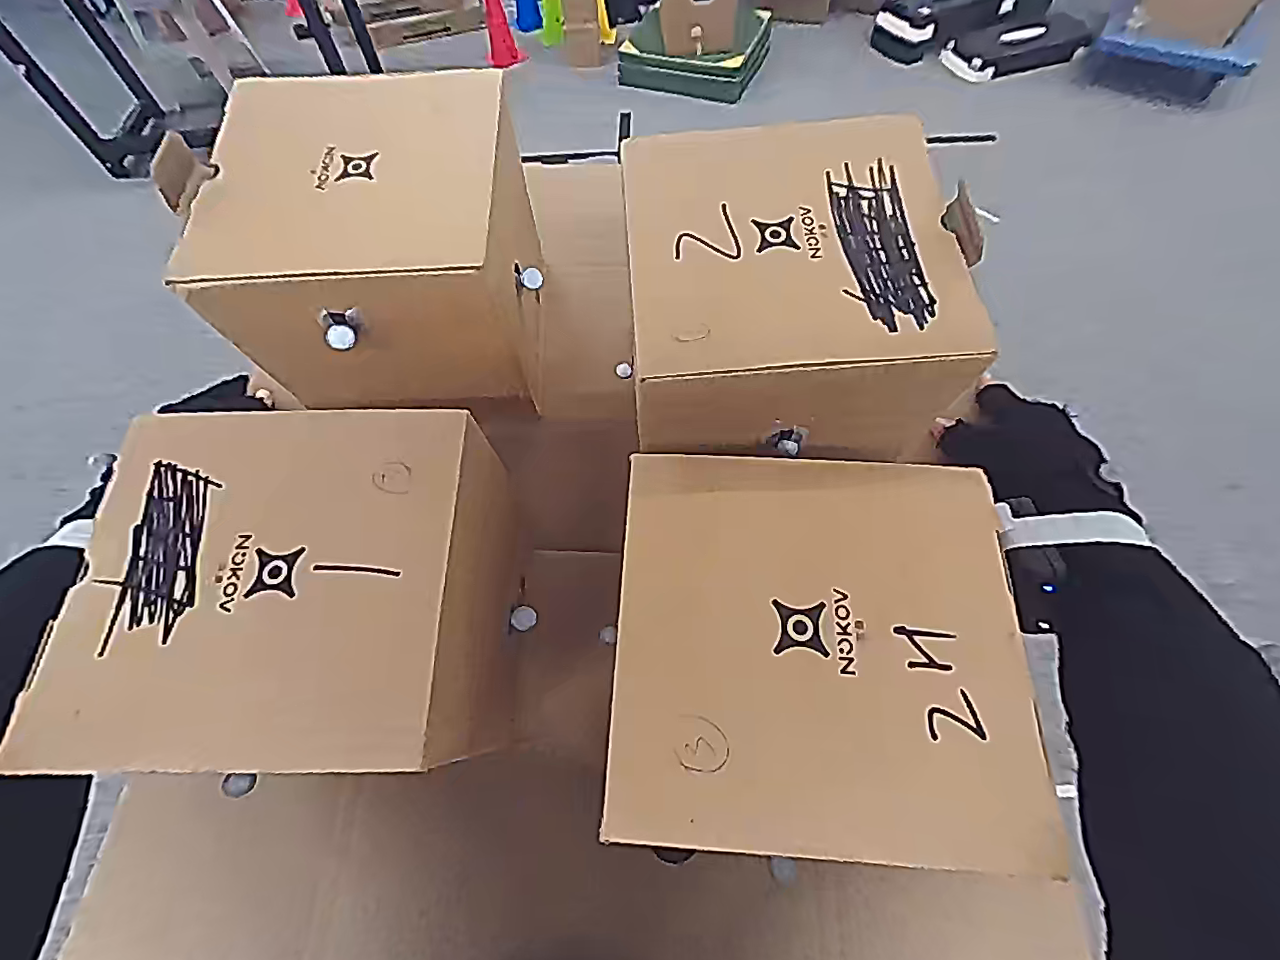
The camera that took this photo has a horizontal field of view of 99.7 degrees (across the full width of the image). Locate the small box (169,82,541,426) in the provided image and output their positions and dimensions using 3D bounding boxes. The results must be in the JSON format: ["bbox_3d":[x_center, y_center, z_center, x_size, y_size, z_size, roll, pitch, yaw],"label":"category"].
[{"bbox_3d":[-0.174,-0.151,0.400,0.179,0.176,0.168,-3,67,1],"label":"small box"}]
